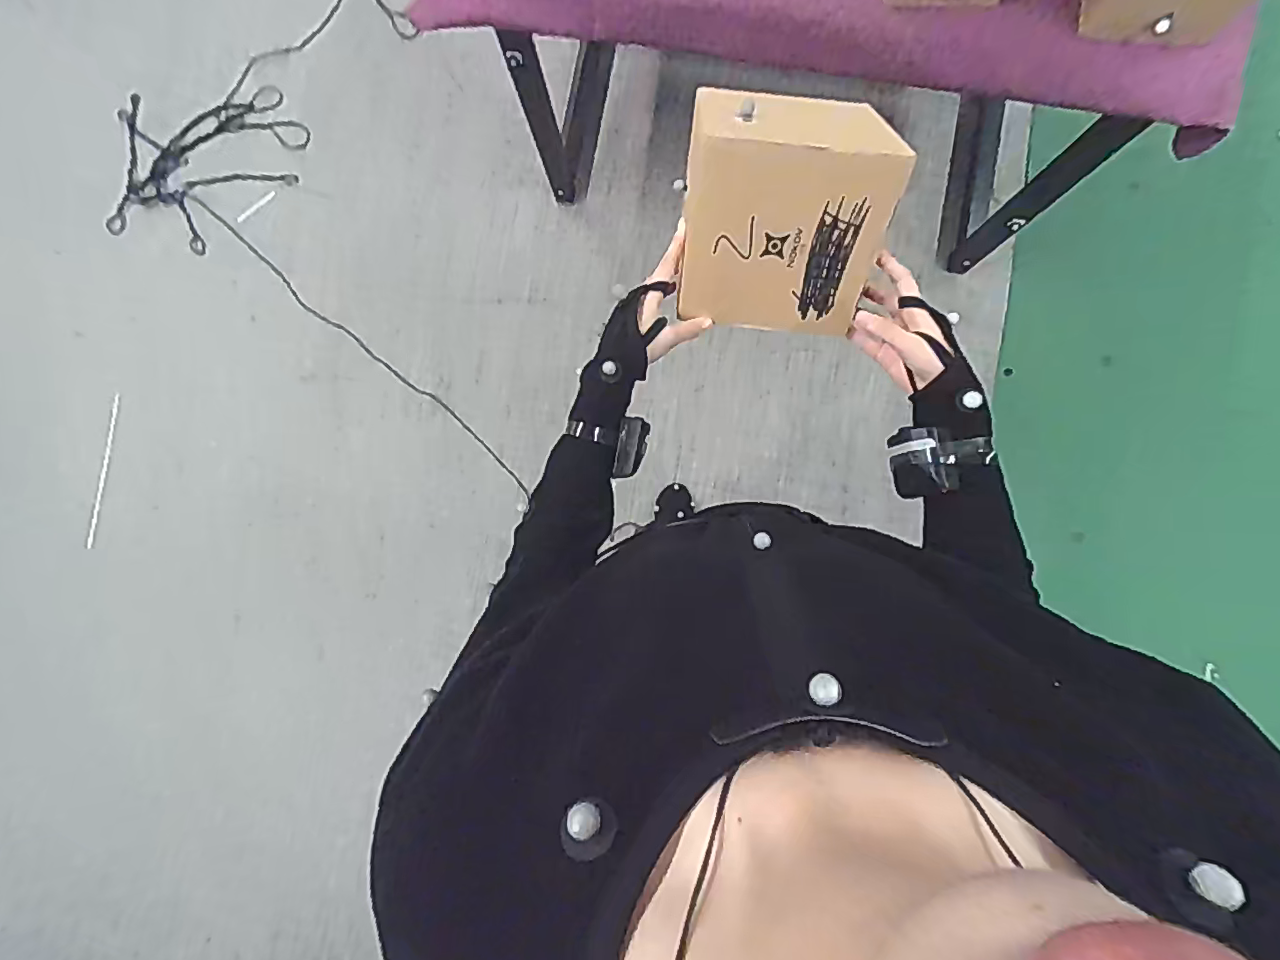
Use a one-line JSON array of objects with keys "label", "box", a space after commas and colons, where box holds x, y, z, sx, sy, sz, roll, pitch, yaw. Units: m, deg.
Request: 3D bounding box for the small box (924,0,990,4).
[{"label": "small box", "box": [0.449, -0.804, 0.730, 0.168, 0.176, 0.179, 4, 87, 4]}]

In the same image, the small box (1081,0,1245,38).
[{"label": "small box", "box": [0.736, -0.727, 0.707, 0.179, 0.176, 0.168, 7, 87, 4]}]
